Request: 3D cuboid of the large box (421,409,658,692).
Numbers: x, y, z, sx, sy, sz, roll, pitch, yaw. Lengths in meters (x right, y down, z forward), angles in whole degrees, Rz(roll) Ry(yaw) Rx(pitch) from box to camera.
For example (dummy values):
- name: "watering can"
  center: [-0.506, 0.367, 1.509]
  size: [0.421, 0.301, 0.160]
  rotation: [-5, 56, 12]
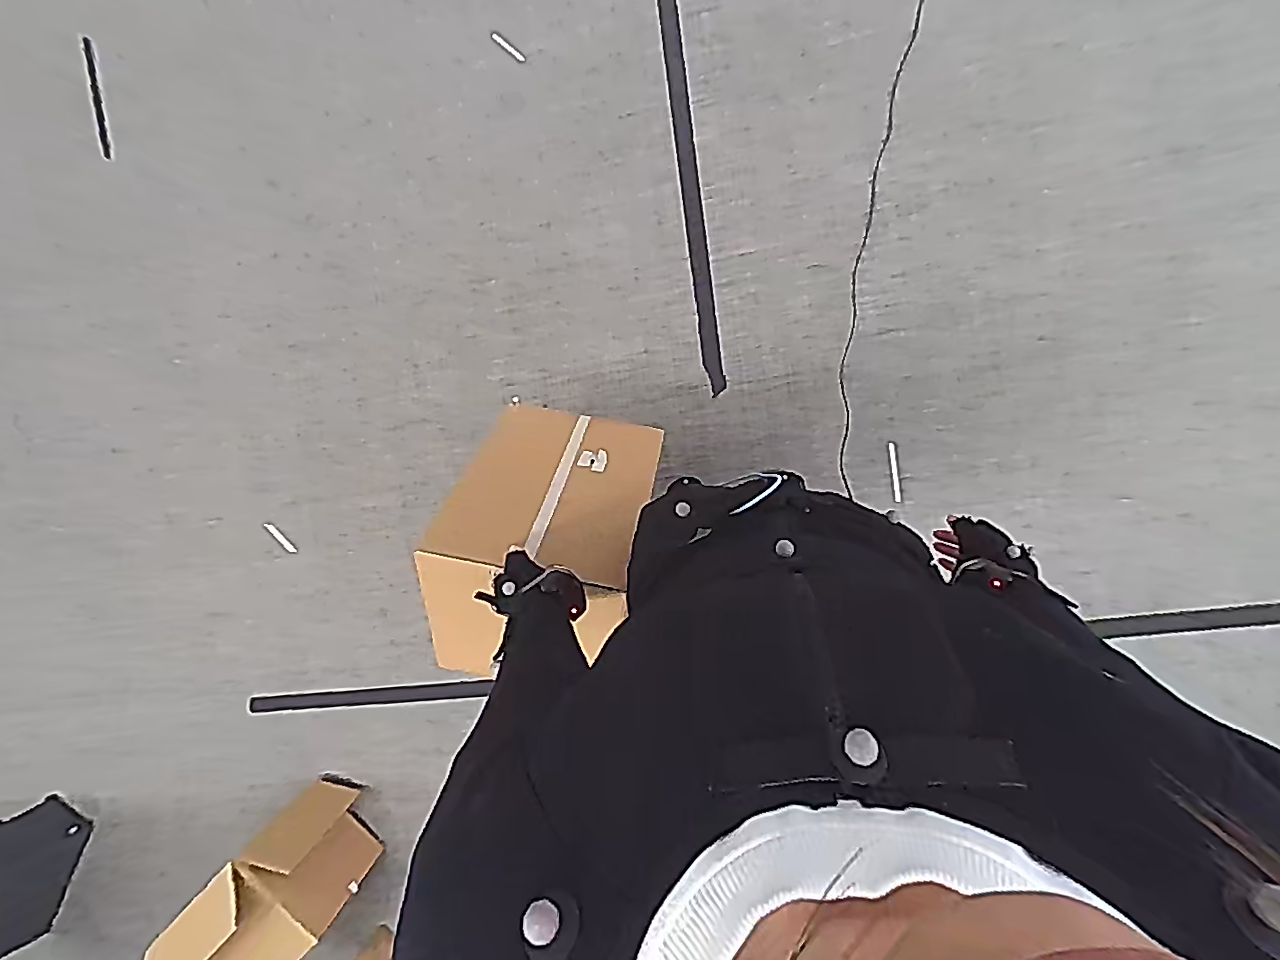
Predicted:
- name: "large box"
  center: [-0.157, 0.120, 1.016]
  size: [0.320, 0.408, 0.320]
  rotation: [11, 130, 2]
